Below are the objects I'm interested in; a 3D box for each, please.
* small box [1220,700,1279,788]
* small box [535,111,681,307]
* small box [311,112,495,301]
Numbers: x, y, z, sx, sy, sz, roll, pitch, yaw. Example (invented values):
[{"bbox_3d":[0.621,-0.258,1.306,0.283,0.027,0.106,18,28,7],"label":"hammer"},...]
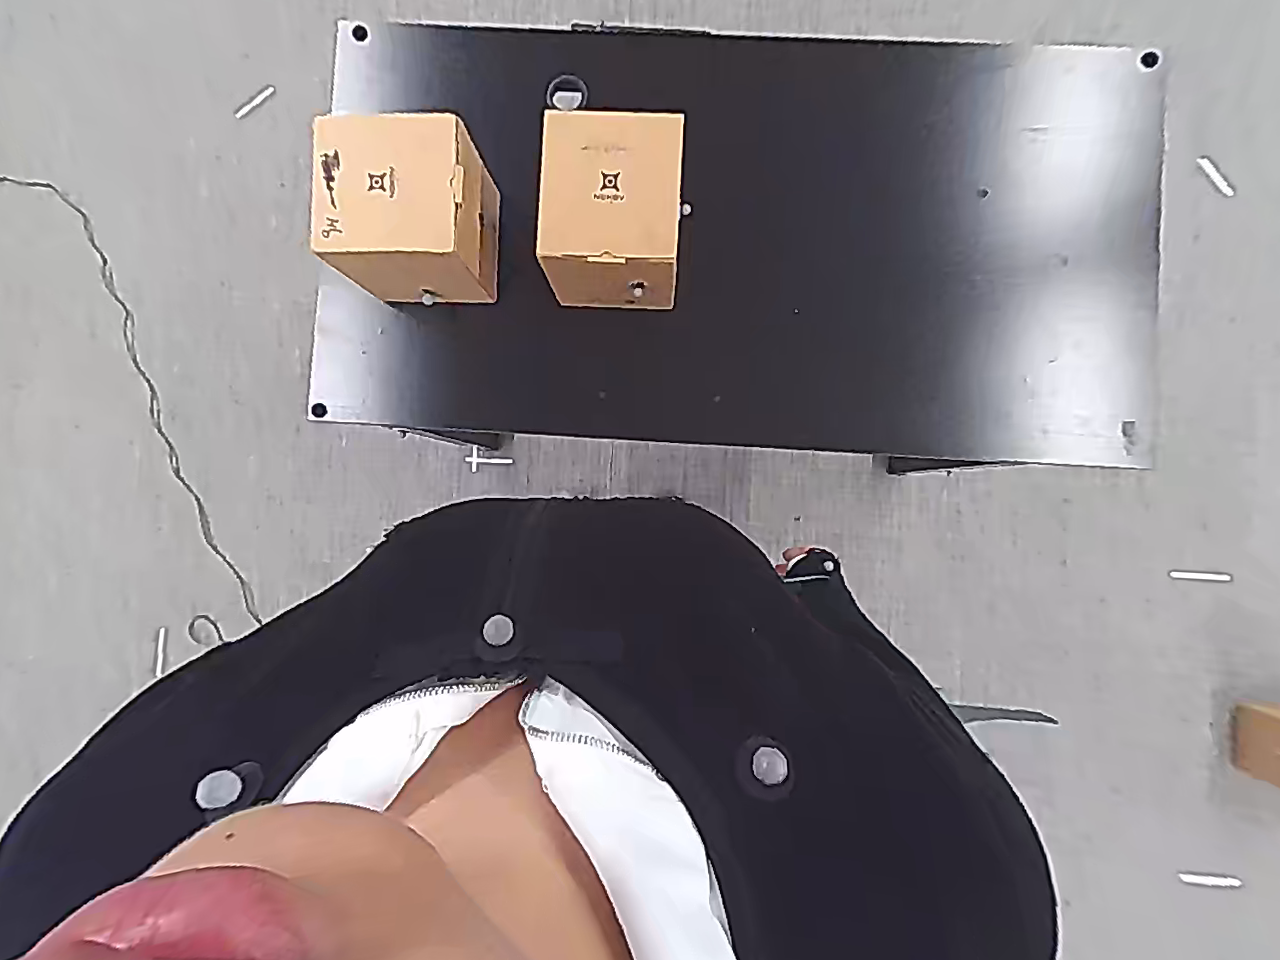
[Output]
[{"bbox_3d":[1.642,0.677,1.372,0.168,0.176,0.179,3,89,2],"label":"small box"},{"bbox_3d":[-0.036,-0.341,0.711,0.168,0.176,0.179,3,87,0],"label":"small box"},{"bbox_3d":[-0.298,-0.346,0.714,0.179,0.176,0.168,1,88,0],"label":"small box"}]
